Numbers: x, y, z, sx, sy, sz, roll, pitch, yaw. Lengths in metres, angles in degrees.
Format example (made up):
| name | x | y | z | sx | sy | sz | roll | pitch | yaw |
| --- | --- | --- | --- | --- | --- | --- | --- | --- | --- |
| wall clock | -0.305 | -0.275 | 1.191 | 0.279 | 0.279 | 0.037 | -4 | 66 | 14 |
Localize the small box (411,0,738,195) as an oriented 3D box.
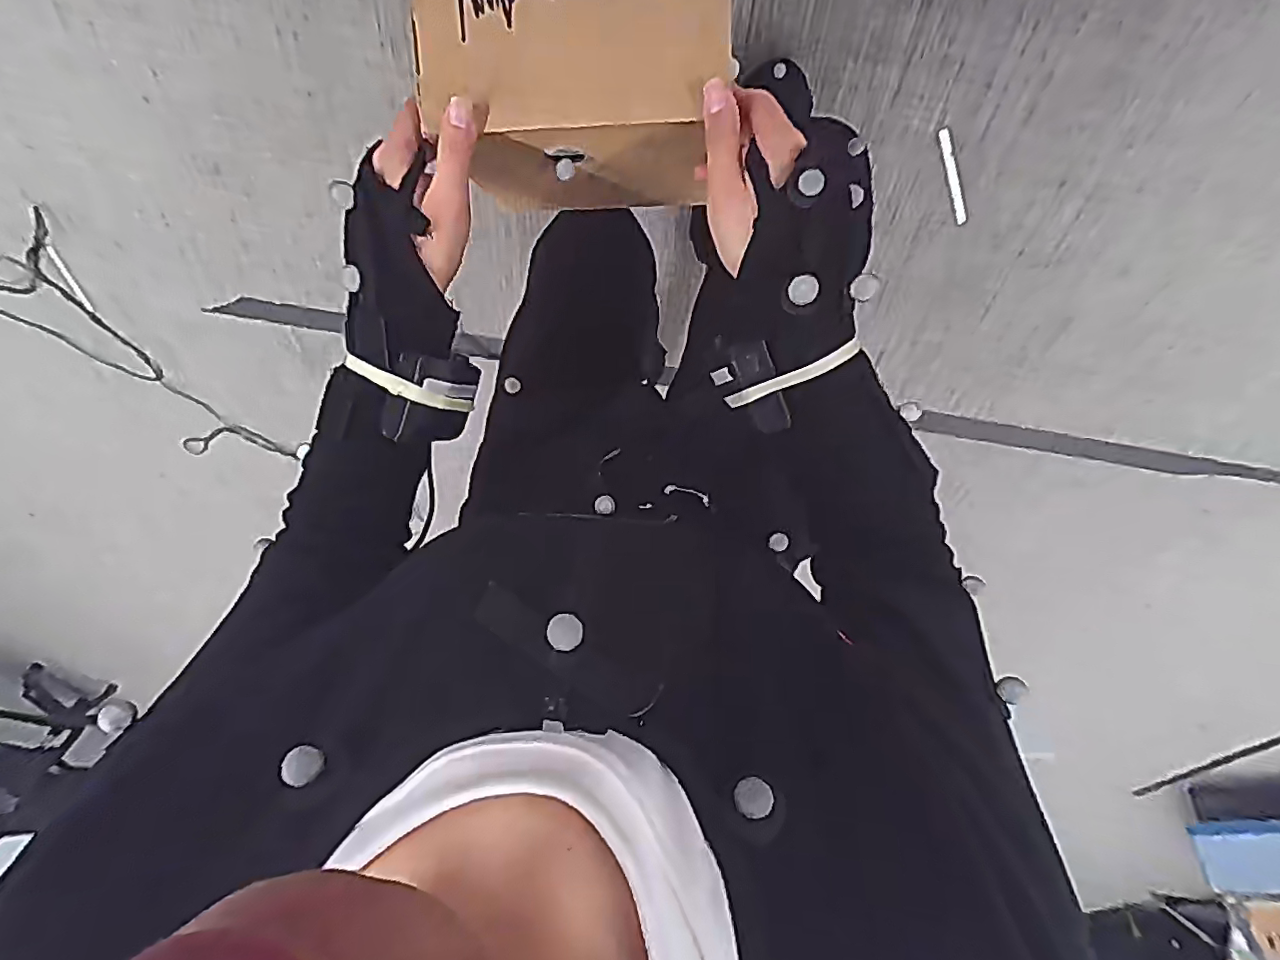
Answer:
| name | x | y | z | sx | sy | sz | roll | pitch | yaw |
| --- | --- | --- | --- | --- | --- | --- | --- | --- | --- |
| small box | -0.032 | -0.300 | 0.355 | 0.179 | 0.176 | 0.168 | -1 | 103 | 3 |
